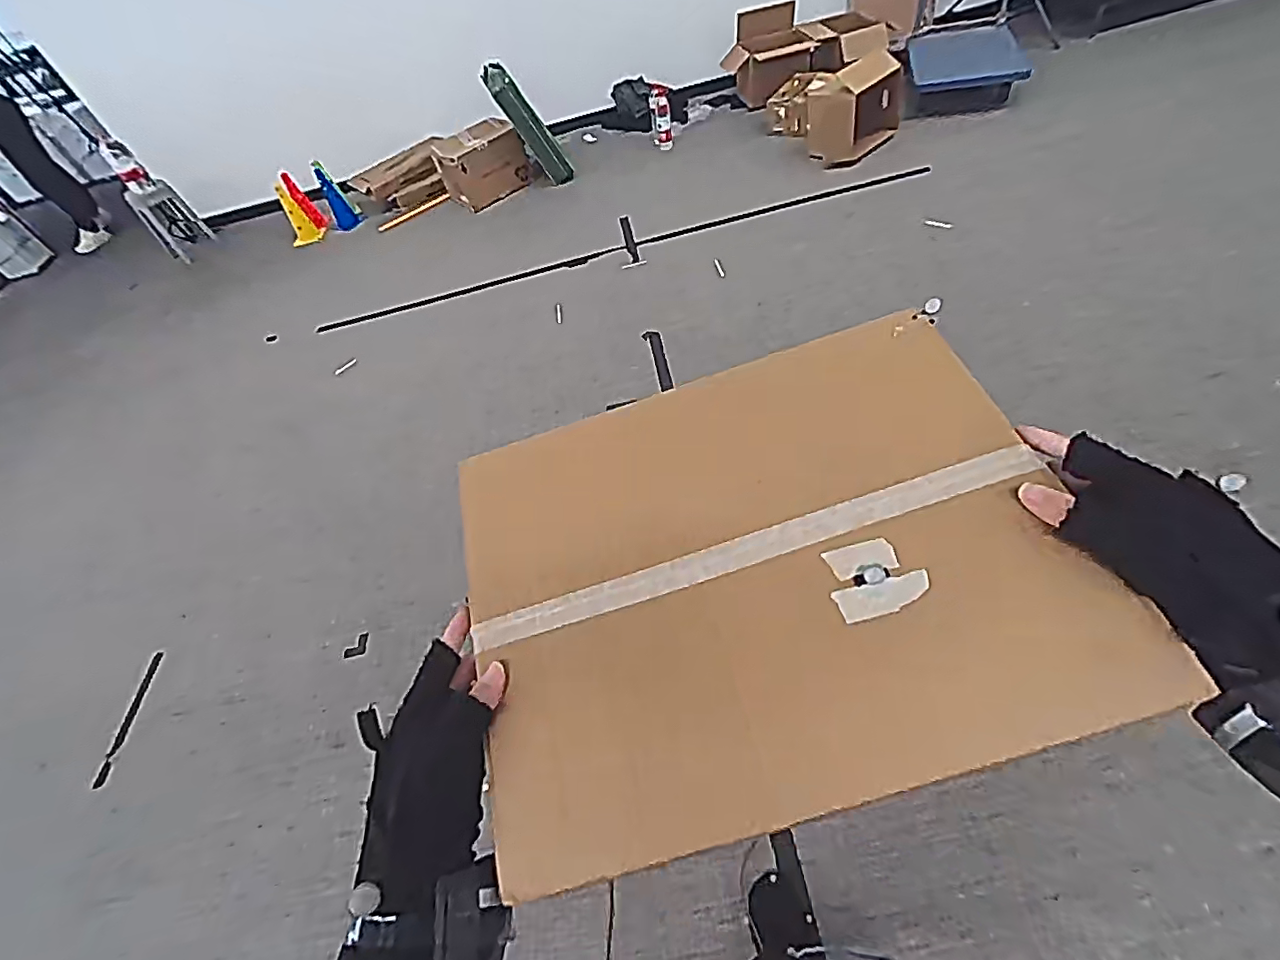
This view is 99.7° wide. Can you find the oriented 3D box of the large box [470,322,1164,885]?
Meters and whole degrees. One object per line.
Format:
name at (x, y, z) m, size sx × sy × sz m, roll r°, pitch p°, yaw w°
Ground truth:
large box at (0.103, 0.124, 0.517) m, size 0.408 × 0.320 × 0.320 m, roll -18°, pitch 60°, yaw 2°
